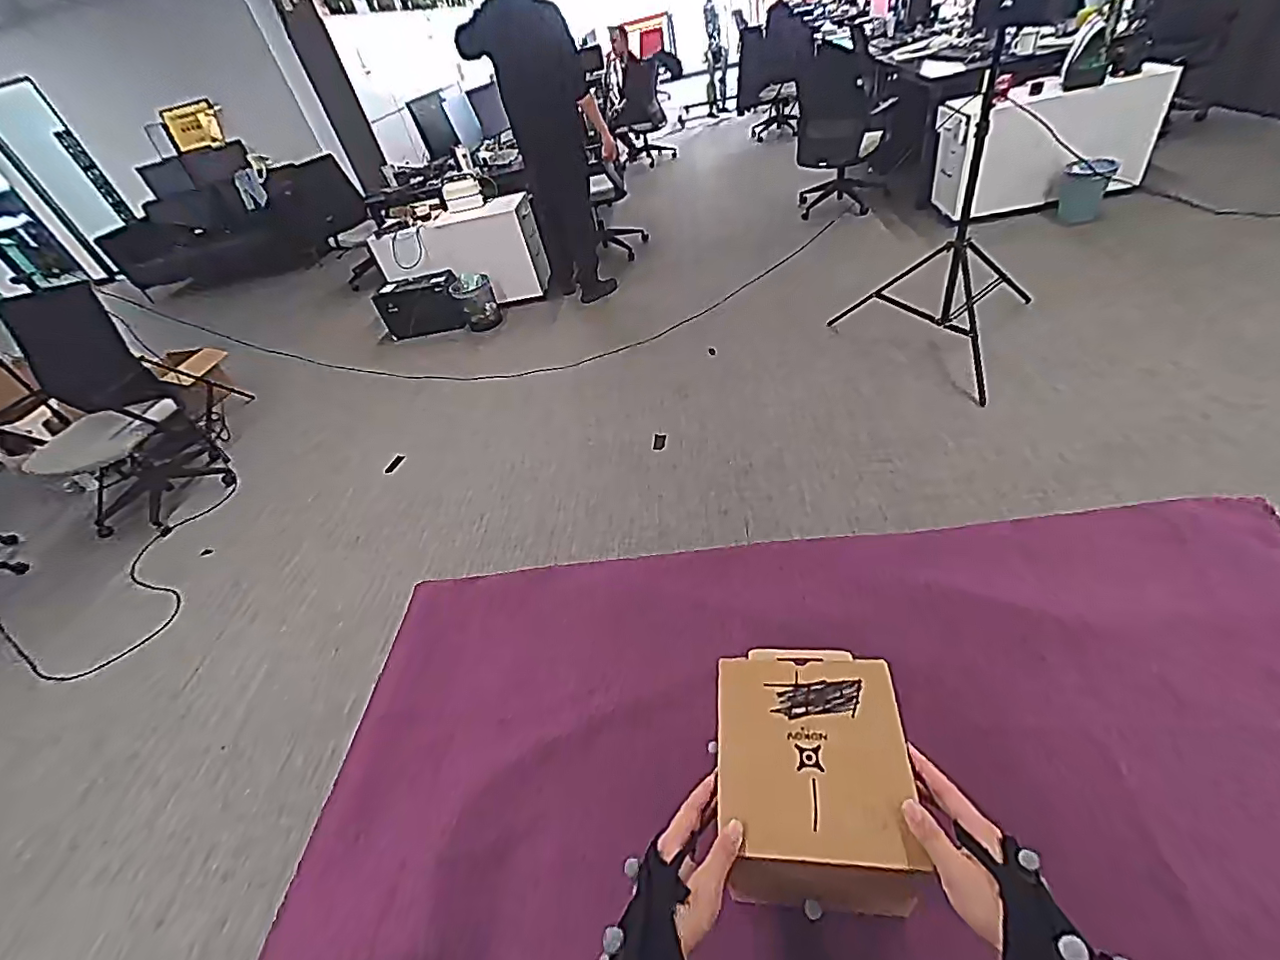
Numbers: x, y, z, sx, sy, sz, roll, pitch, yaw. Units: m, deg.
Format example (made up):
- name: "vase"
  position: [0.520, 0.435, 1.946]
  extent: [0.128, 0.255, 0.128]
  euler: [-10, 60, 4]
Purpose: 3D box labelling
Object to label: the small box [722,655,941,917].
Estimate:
- name: "small box"
  position: [0.170, 0.294, 0.531]
  extent: [0.168, 0.176, 0.179]
  euler: [-4, 42, 13]
